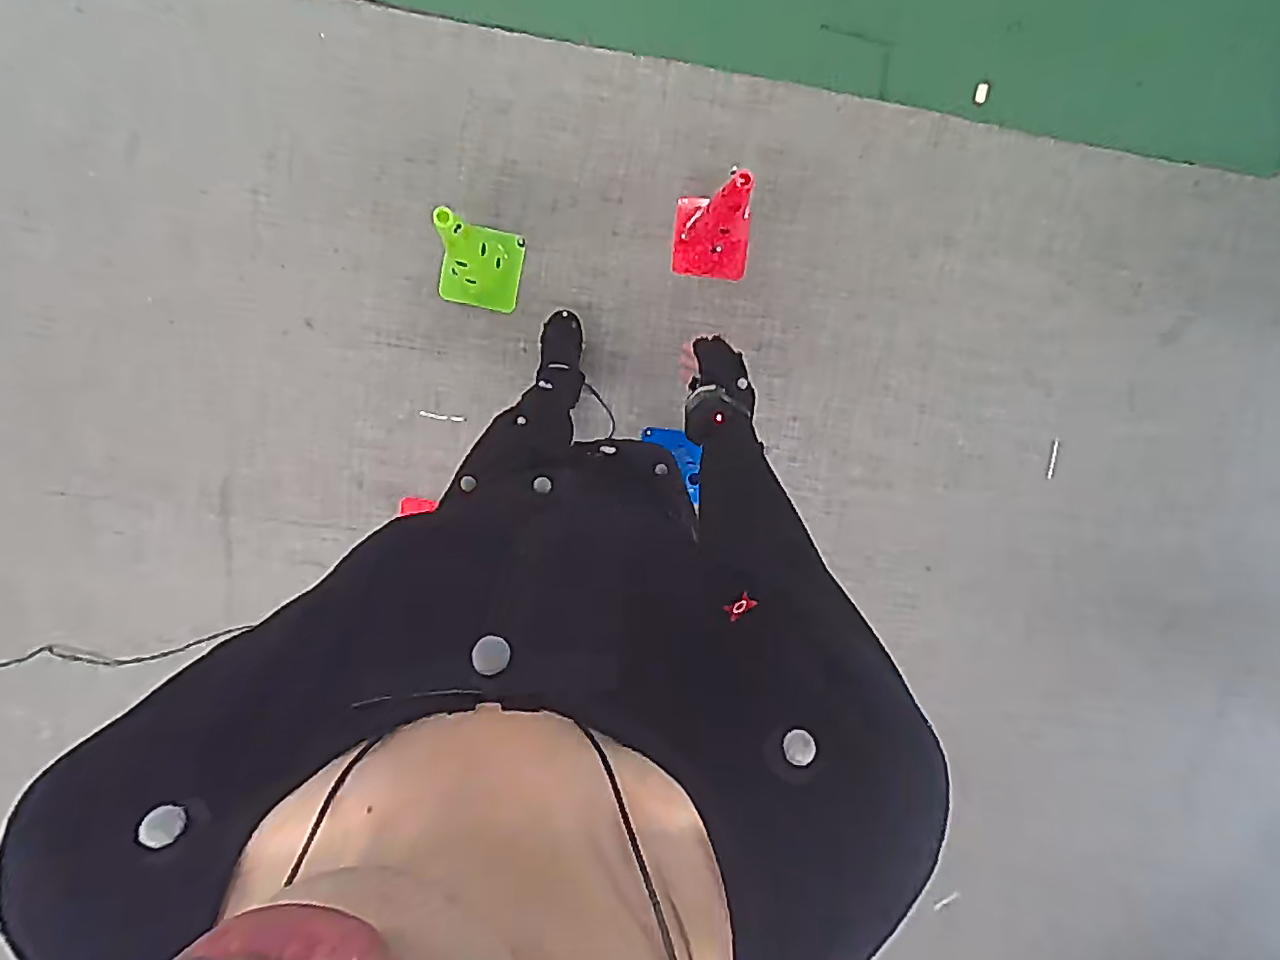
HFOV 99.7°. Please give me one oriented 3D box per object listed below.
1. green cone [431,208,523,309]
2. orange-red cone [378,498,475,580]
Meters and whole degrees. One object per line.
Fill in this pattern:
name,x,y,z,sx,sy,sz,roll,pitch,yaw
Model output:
green cone,-0.405,-0.540,1.237,0.200,0.368,0.202,10,96,-4
orange-red cone,-0.547,0.174,1.304,0.198,0.360,0.199,12,94,-6
